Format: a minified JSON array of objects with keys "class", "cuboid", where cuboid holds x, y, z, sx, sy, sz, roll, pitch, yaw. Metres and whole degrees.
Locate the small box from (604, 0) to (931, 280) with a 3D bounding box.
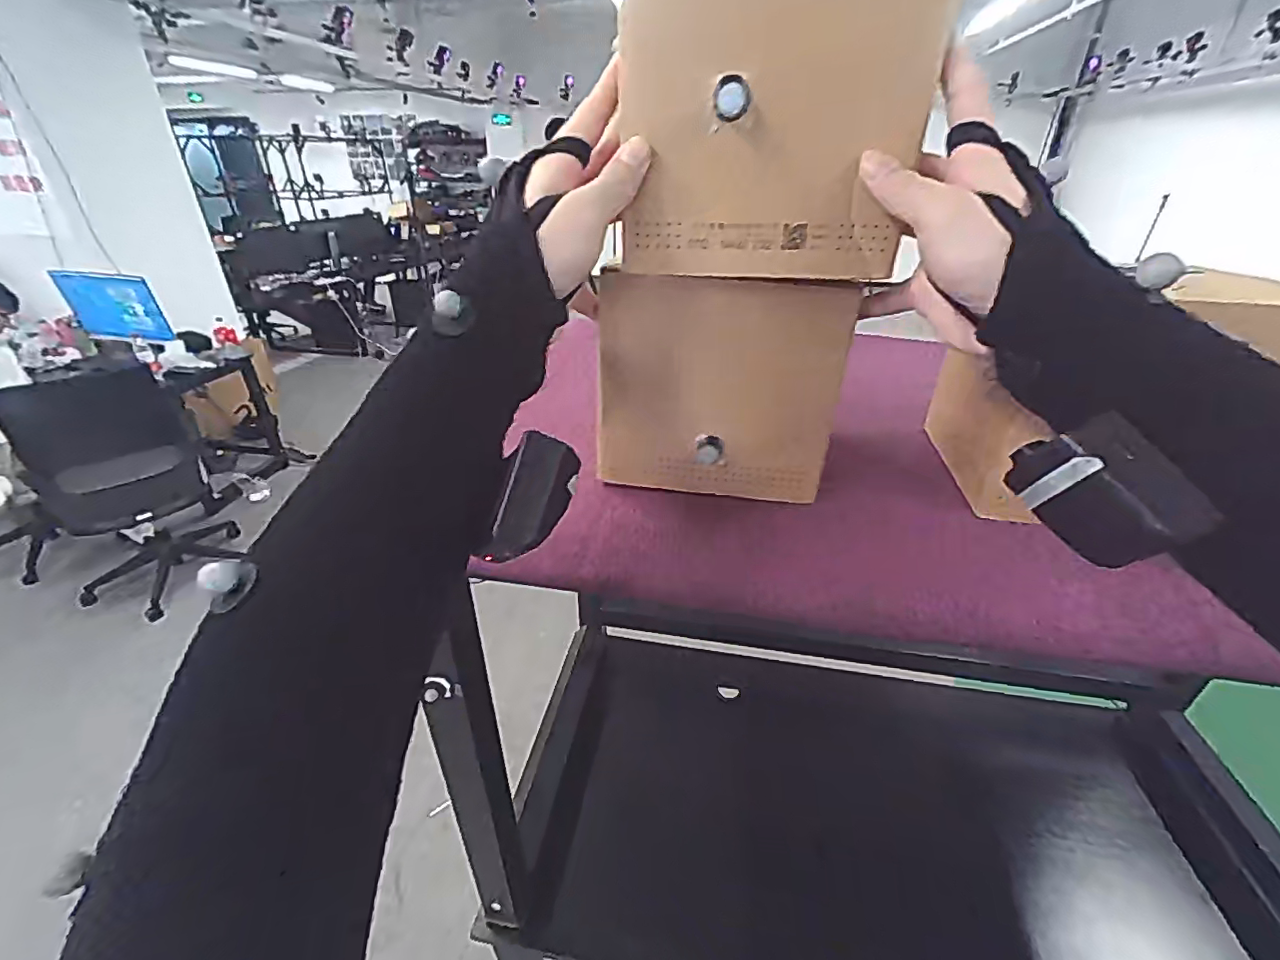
[{"class":"small box","cuboid":[0.076,-0.236,0.363,0.168,0.176,0.179,2,32,7]}]
